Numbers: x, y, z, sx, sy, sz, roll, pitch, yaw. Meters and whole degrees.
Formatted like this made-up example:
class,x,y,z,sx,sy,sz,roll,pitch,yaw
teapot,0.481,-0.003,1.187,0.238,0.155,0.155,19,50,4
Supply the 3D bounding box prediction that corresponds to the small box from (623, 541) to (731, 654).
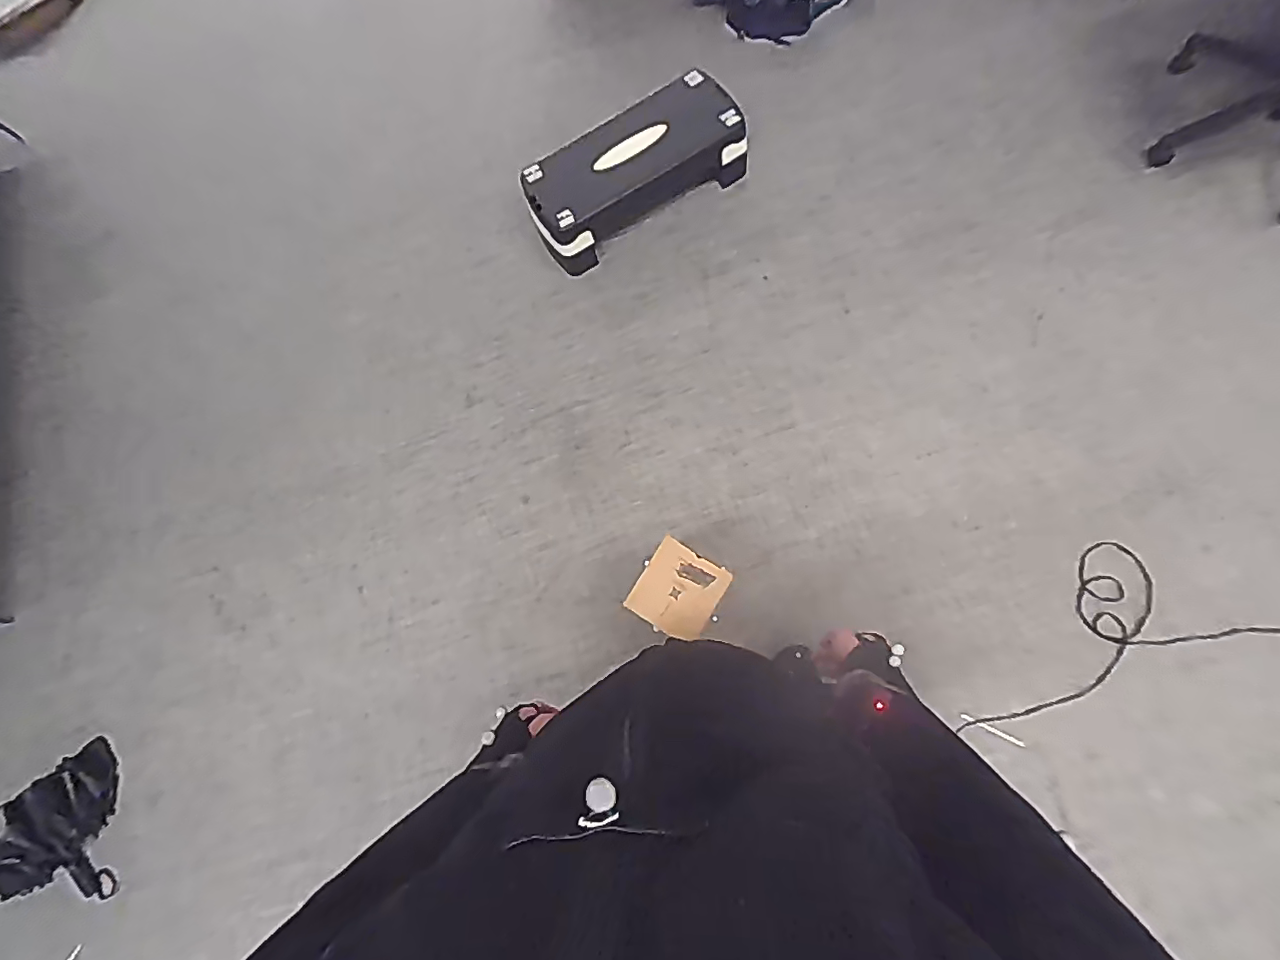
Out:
class,x,y,z,sx,sy,sz,roll,pitch,yaw
small box,0.085,0.259,1.195,0.168,0.176,0.179,31,82,15
